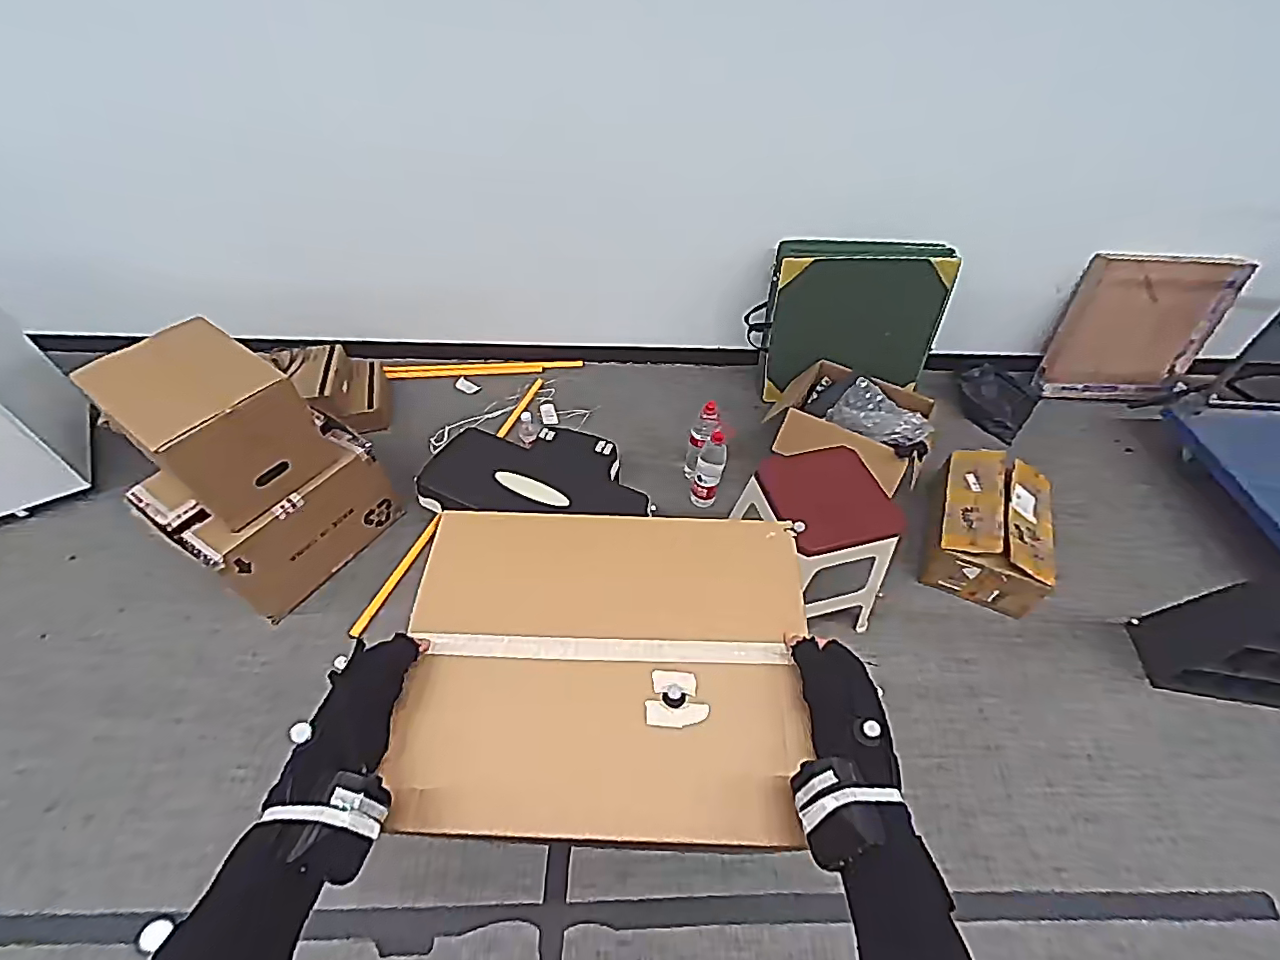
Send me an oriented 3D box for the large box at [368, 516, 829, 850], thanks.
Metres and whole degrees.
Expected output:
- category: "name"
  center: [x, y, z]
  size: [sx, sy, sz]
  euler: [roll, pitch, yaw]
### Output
- category: "large box"
  center: [-0.035, 0.259, 0.665]
  size: [0.408, 0.320, 0.320]
  euler: [2, 55, 1]
